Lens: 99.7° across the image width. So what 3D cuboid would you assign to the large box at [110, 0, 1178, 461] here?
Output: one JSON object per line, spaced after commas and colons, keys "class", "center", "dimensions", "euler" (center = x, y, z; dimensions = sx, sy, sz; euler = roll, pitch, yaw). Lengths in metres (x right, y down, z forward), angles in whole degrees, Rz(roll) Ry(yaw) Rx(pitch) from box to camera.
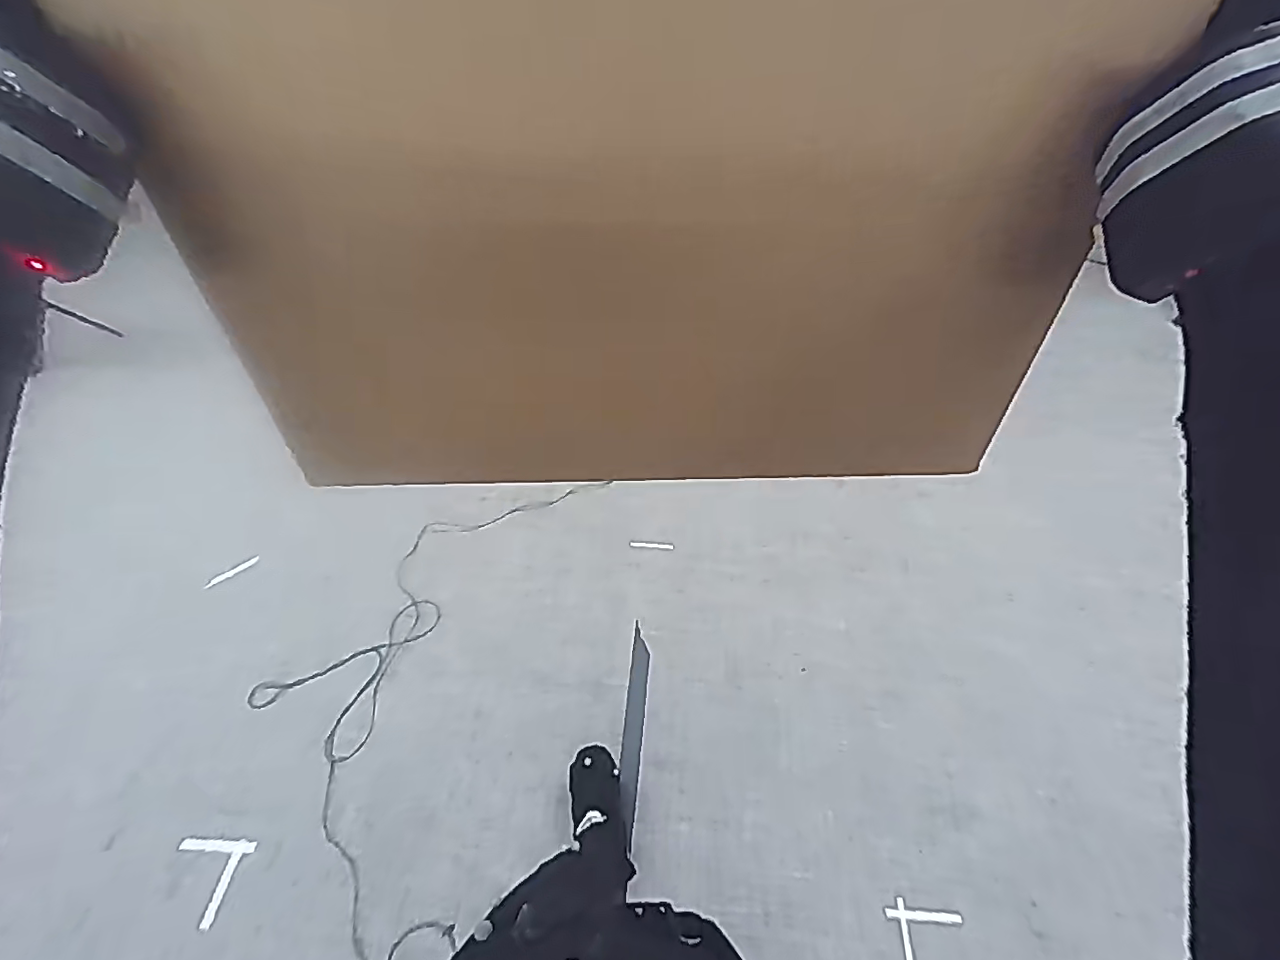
{"class": "large box", "center": [0.000, -0.223, 0.350], "dimensions": [0.408, 0.320, 0.320], "euler": [0, 42, -1]}
